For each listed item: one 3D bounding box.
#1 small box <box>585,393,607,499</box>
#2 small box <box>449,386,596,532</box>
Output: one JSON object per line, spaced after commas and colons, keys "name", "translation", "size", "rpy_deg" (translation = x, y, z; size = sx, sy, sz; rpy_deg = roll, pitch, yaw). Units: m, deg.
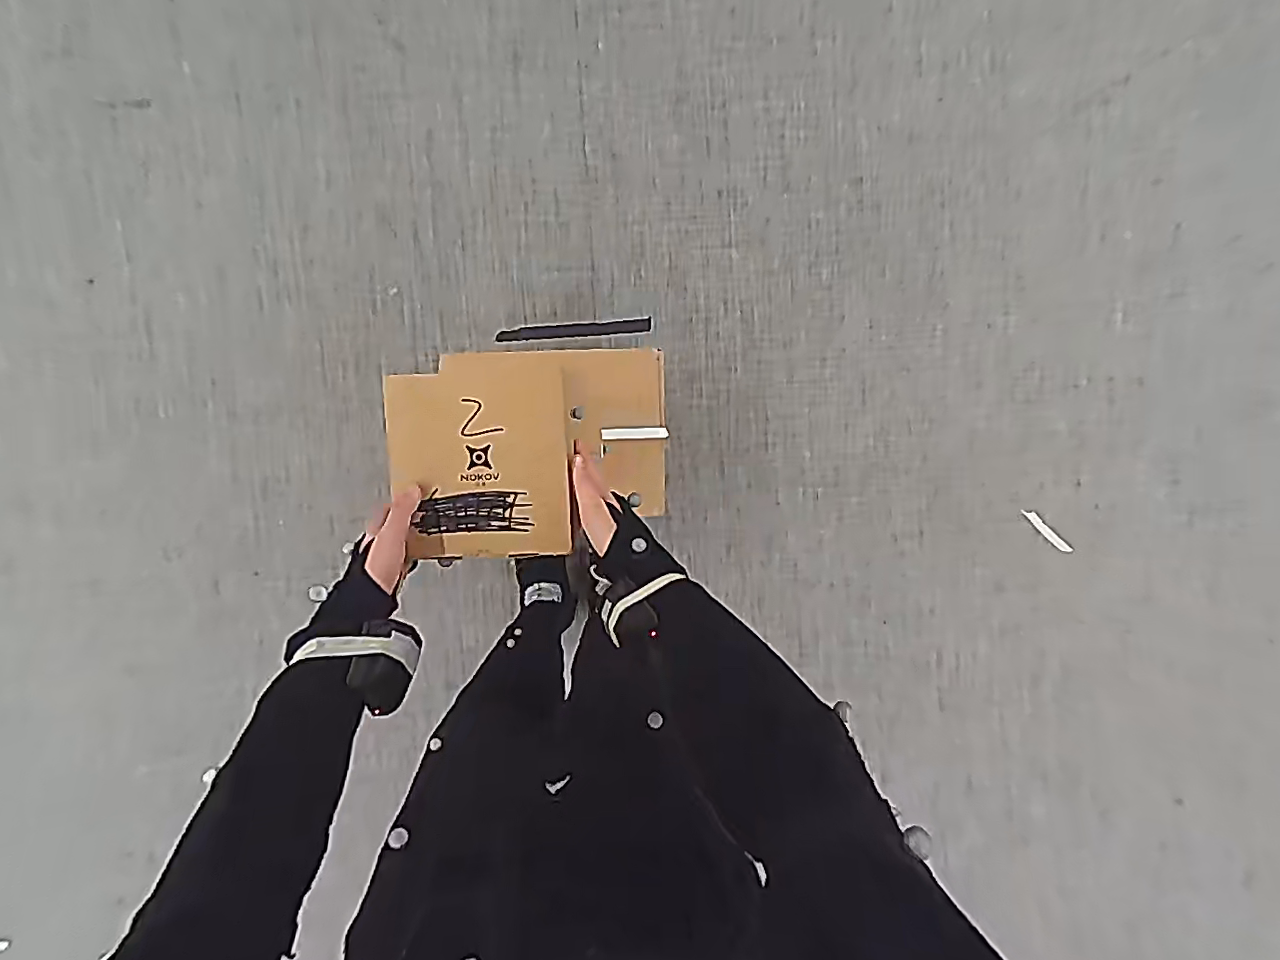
{"name": "small box", "translation": [-0.150, -0.052, 0.909], "size": [0.179, 0.176, 0.168], "rpy_deg": [-5, 95, -2]}
{"name": "small box", "translation": [-0.151, -0.032, 0.747], "size": [0.168, 0.176, 0.179], "rpy_deg": [-4, 96, -1]}
